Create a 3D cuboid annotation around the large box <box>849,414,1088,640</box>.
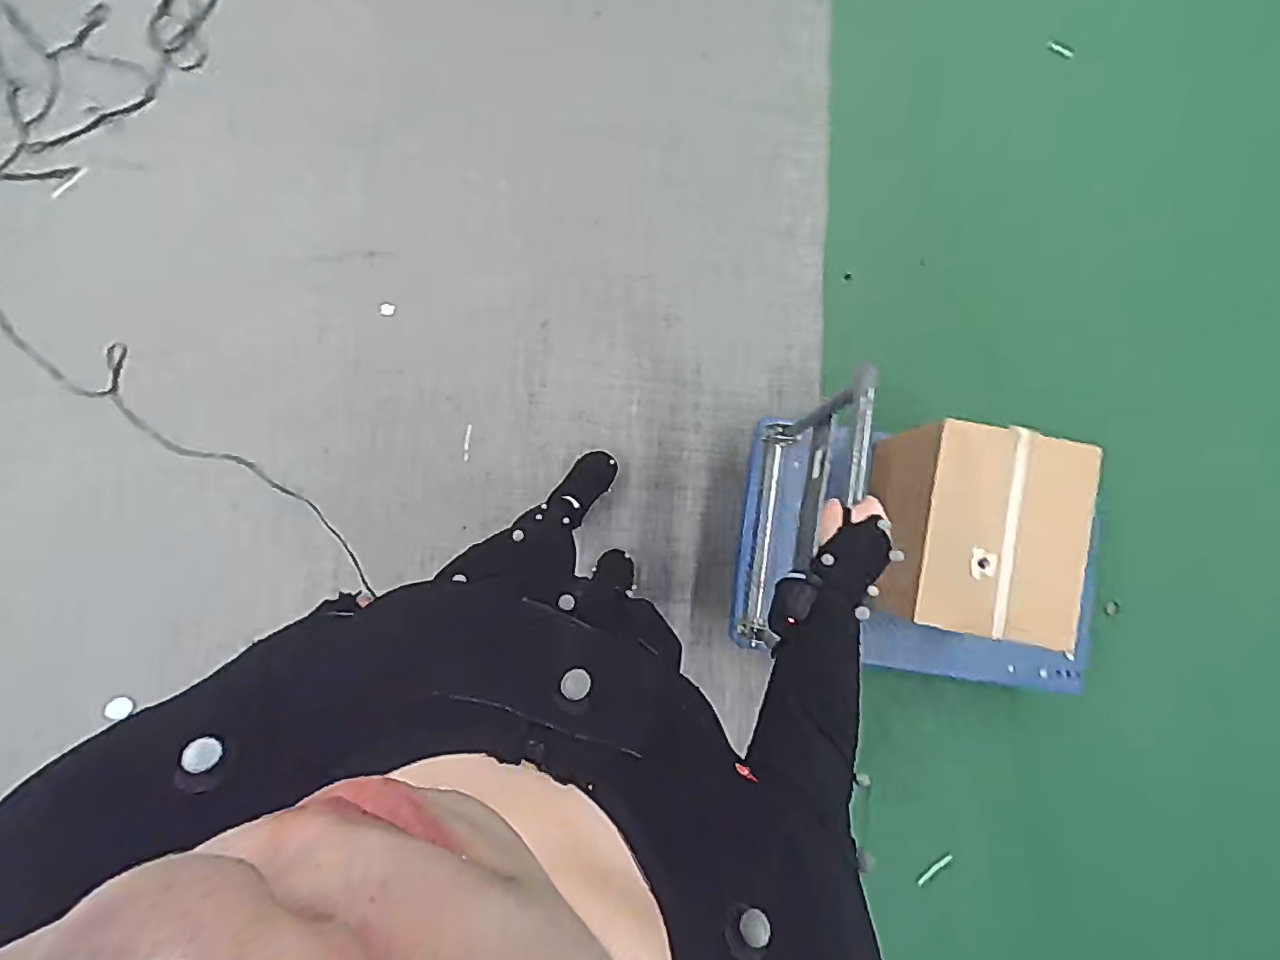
[{"bbox_3d":[0.700,0.096,1.203,0.320,0.320,0.408,11,87,0],"label":"large box"}]
